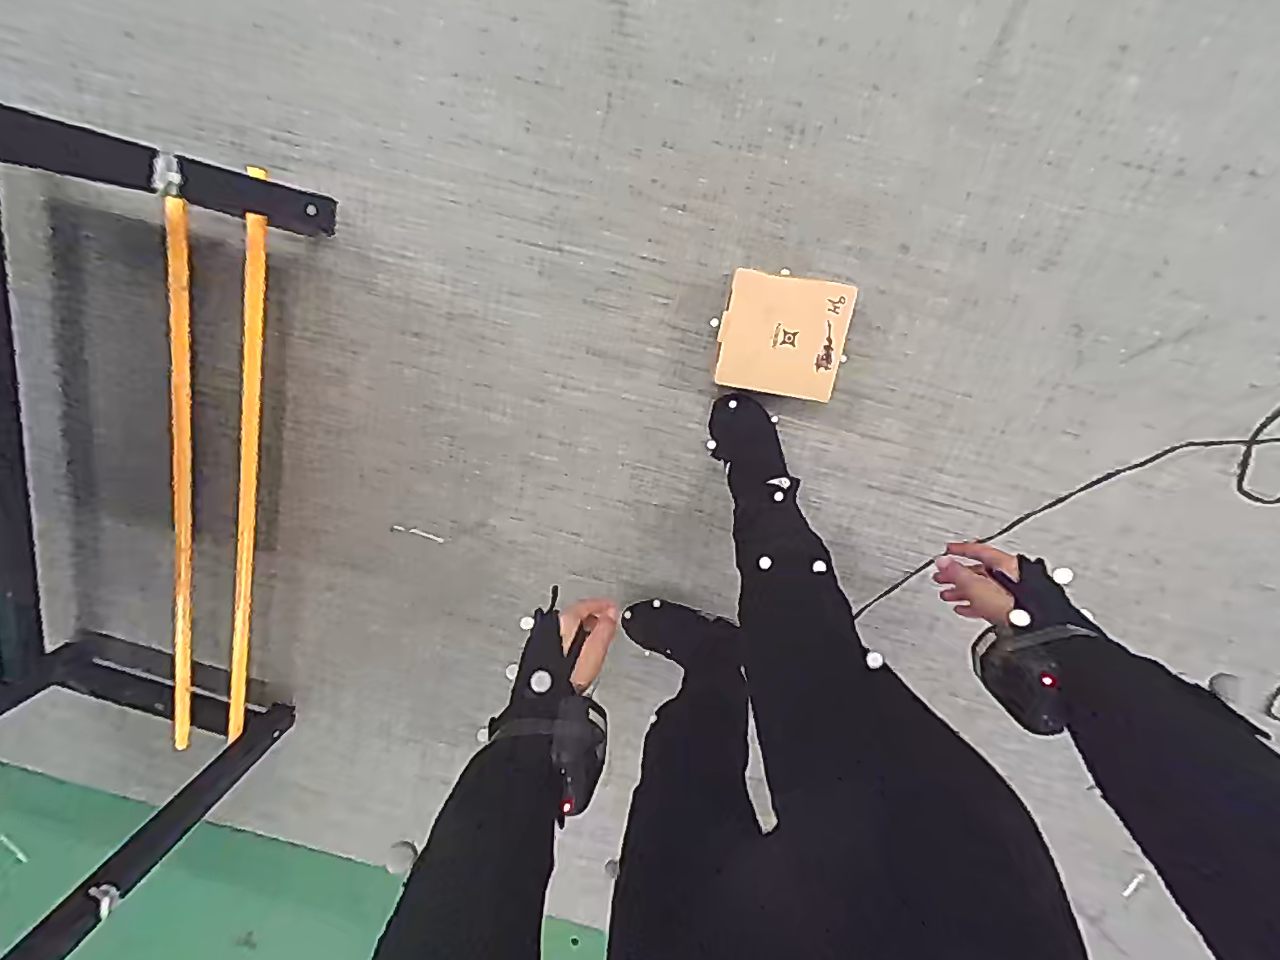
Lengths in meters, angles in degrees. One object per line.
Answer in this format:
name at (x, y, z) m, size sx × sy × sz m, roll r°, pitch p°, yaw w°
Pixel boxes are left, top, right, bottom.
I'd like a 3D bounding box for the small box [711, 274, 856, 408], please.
small box at (0.213, -0.219, 0.854) m, size 0.179 × 0.176 × 0.168 m, roll 11°, pitch 107°, yaw 4°
